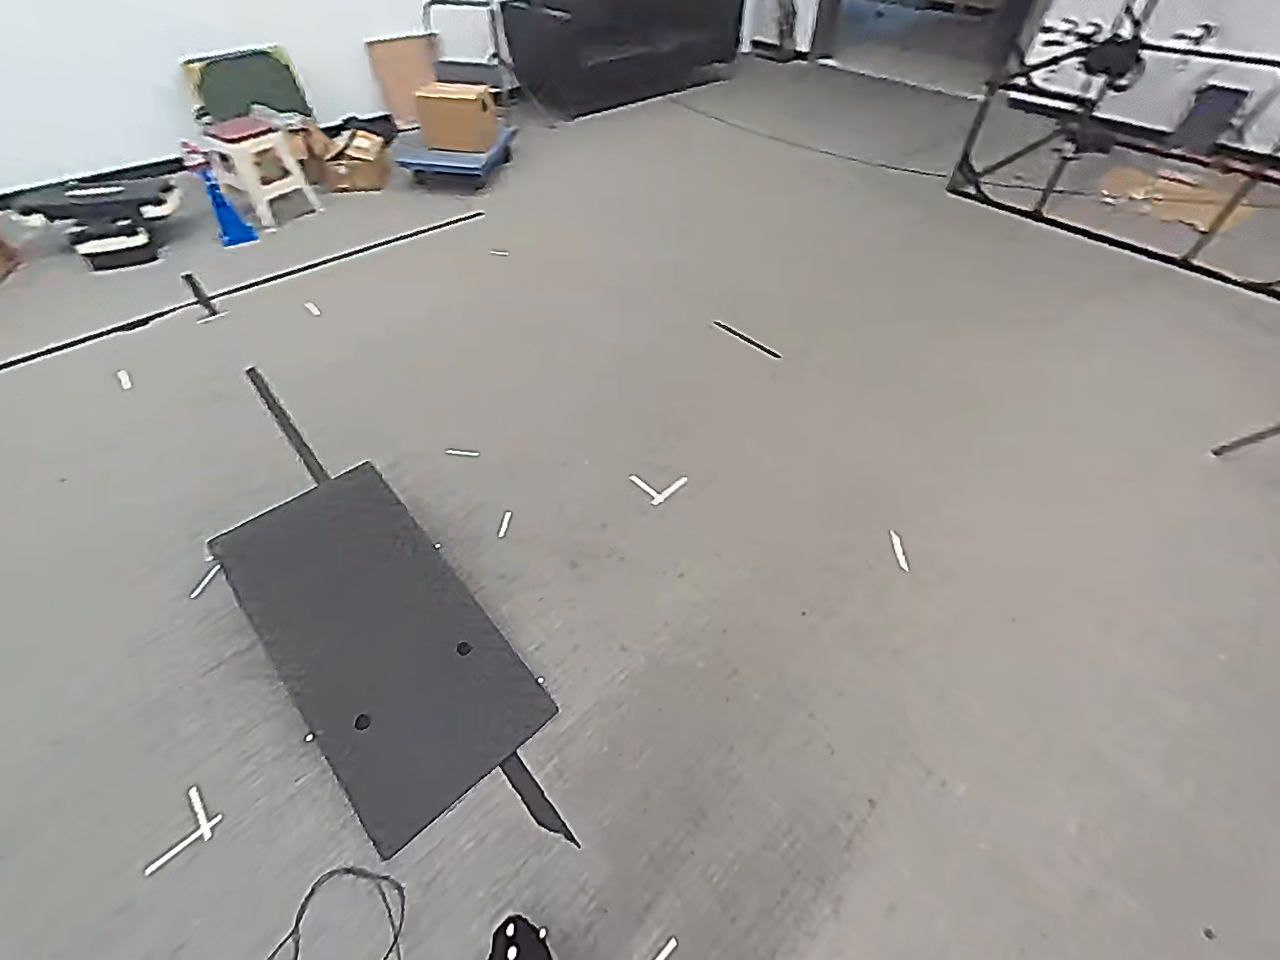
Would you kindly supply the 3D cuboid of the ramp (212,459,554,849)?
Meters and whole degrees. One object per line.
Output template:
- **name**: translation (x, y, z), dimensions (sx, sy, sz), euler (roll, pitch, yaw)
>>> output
- **ramp**: translation (-0.722, 0.386, 1.494), dimensions (0.509, 0.206, 0.991), euler (-35, 58, -29)
